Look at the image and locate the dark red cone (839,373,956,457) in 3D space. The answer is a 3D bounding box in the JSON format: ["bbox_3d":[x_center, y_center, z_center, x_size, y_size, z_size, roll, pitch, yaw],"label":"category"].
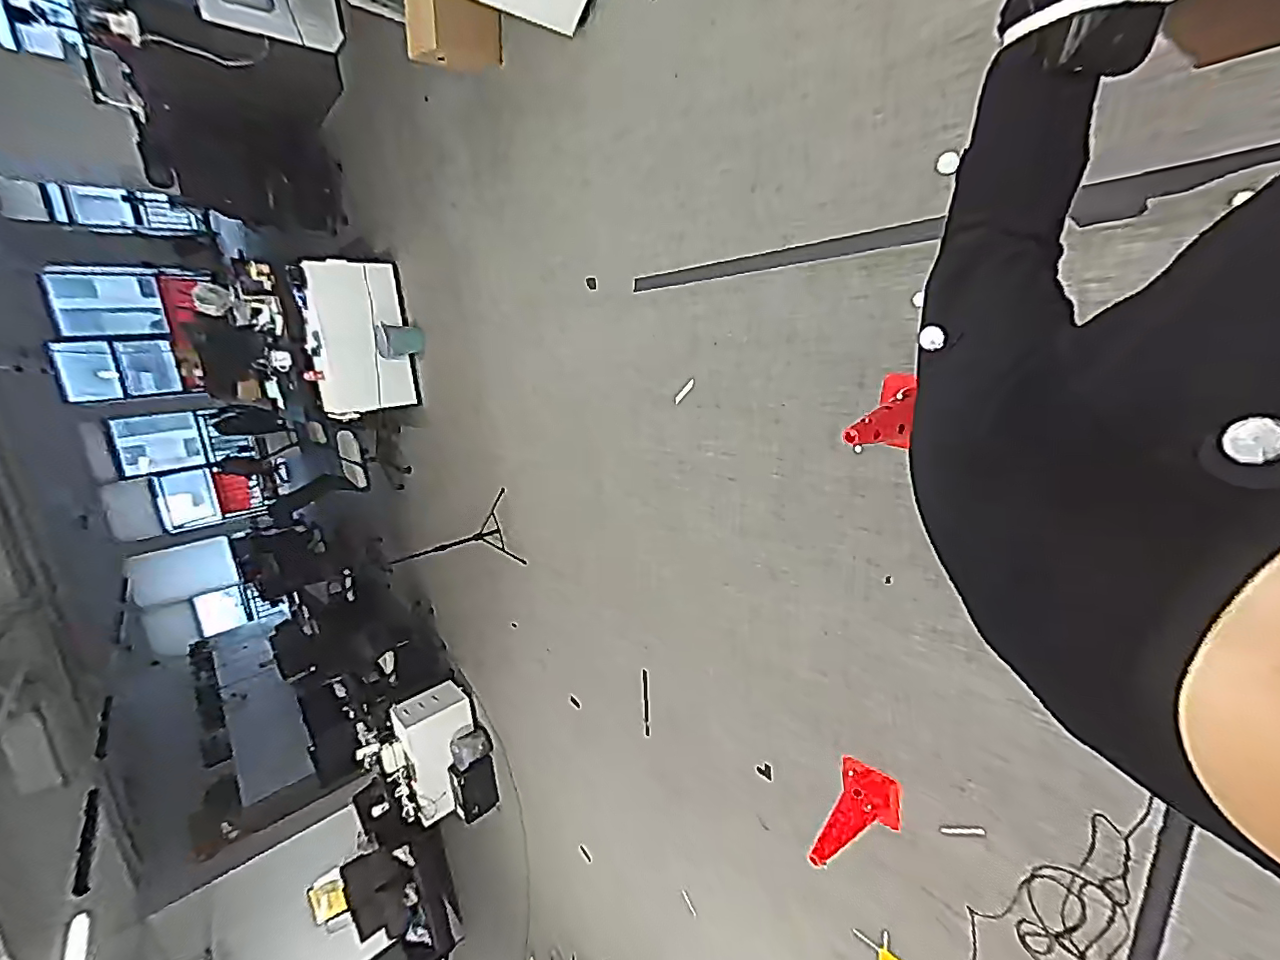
[{"bbox_3d":[0.595,-0.137,1.318,0.201,0.394,0.202,19,117,44],"label":"dark red cone"}]

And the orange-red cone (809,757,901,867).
[{"bbox_3d":[0.653,1.098,1.720,0.198,0.360,0.199,10,111,49],"label":"orange-red cone"}]

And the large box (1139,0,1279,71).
[{"bbox_3d":[0.529,-0.462,0.243,0.408,0.320,0.320,13,118,47],"label":"large box"}]
